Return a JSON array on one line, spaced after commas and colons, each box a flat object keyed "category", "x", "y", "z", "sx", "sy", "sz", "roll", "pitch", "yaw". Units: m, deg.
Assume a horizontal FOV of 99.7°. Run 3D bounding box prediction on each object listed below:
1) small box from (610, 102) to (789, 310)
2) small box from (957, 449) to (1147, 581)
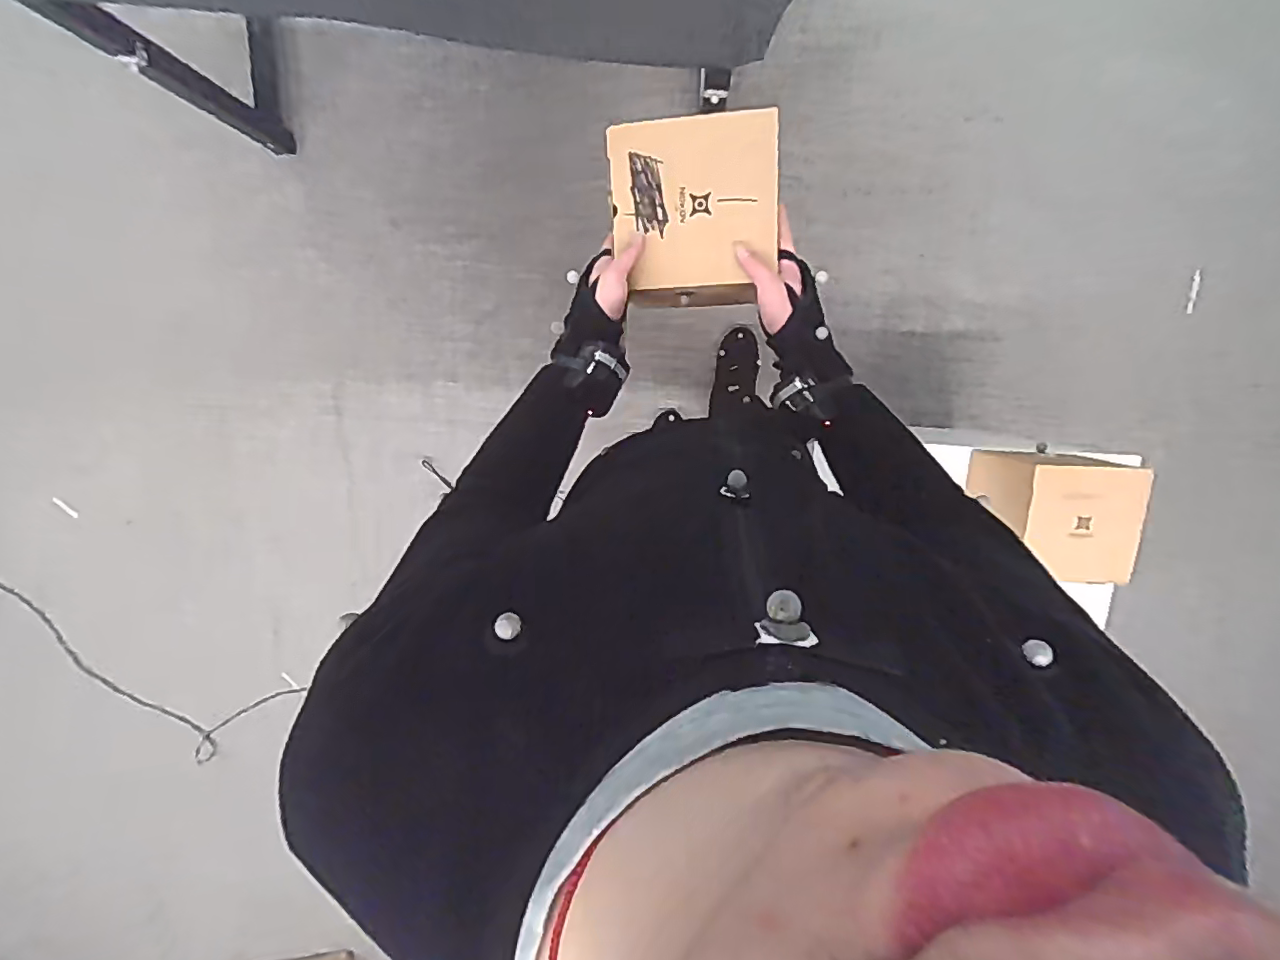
[{"category": "small box", "x": 0.068, "y": -0.293, "z": 0.617, "sx": 0.179, "sy": 0.176, "sz": 0.168, "roll": -2, "pitch": 100, "yaw": 5}, {"category": "small box", "x": 0.635, "y": 0.048, "z": 0.857, "sx": 0.168, "sy": 0.176, "sz": 0.179, "roll": 0, "pitch": 99, "yaw": -1}]
